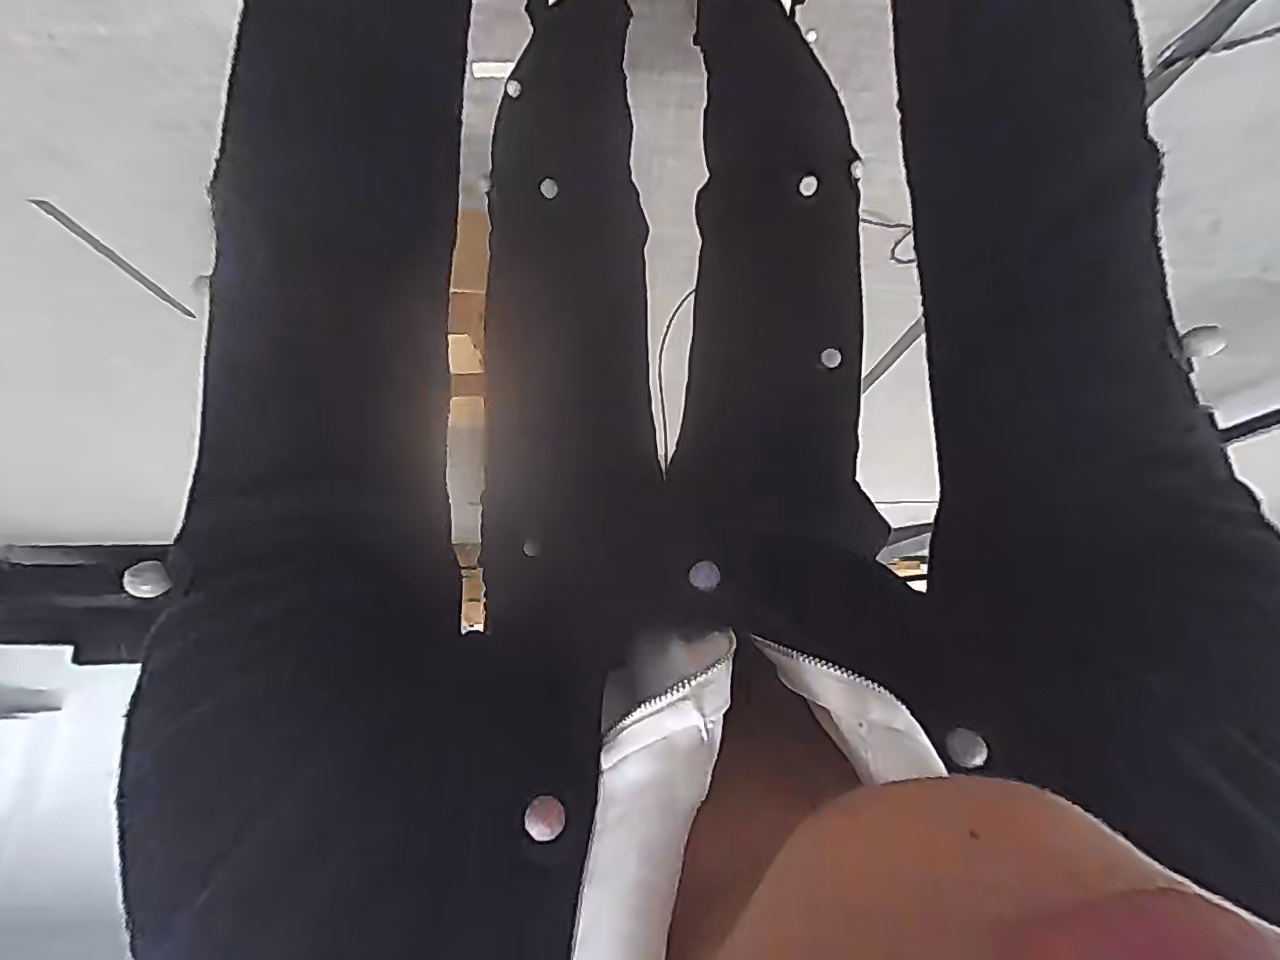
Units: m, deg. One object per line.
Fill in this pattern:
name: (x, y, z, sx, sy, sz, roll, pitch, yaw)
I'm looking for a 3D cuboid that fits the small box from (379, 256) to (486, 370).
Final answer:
small box: (-0.420, -0.342, 1.122, 0.179, 0.176, 0.168, -1, 164, -7)
